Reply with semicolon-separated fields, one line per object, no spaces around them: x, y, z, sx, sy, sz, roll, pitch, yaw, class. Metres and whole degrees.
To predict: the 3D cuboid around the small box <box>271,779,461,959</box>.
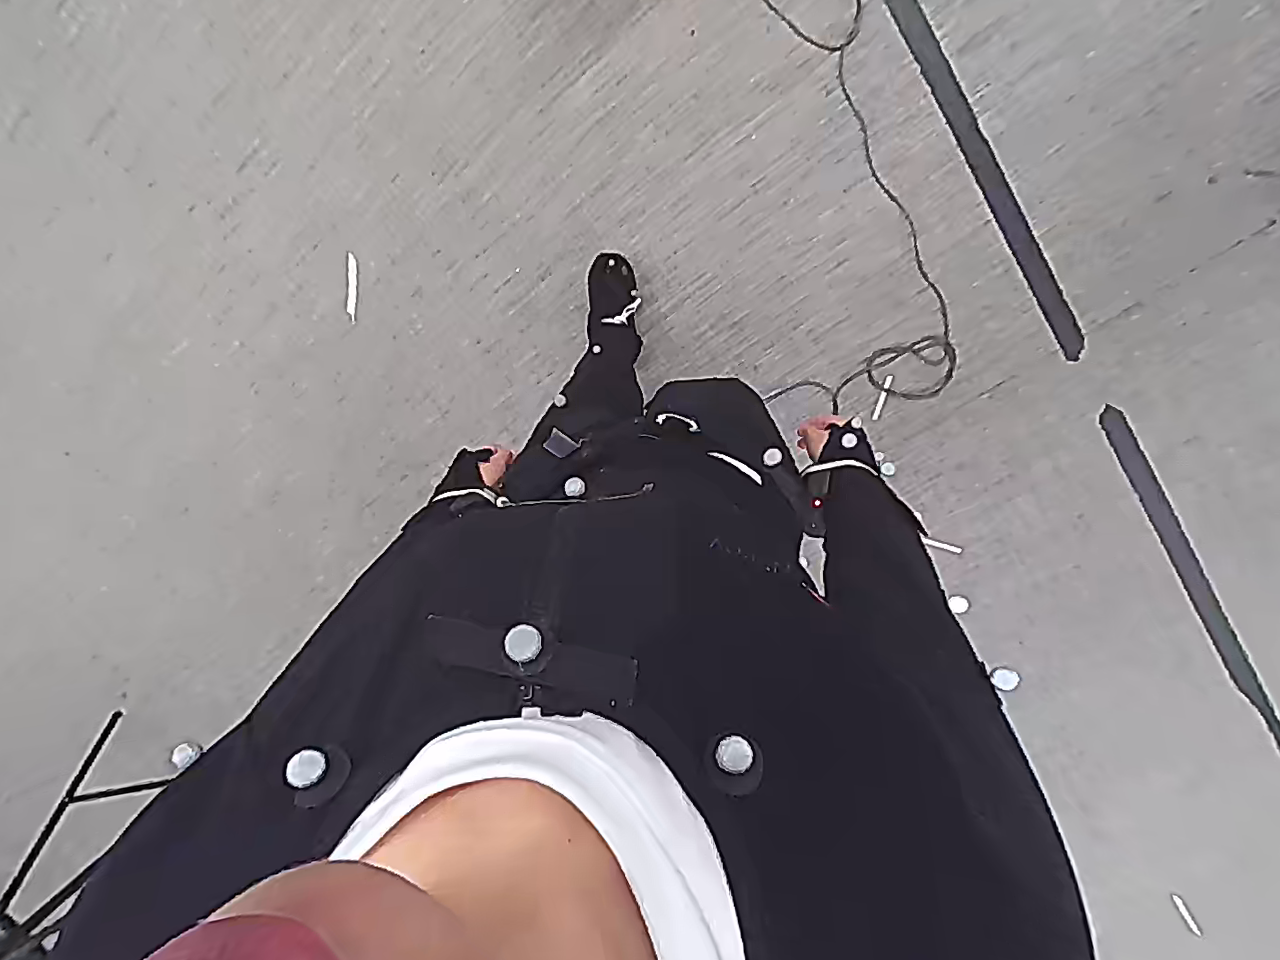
-0.432;0.625;0.881;0.168;0.176;0.179;-35;100;14;small box
